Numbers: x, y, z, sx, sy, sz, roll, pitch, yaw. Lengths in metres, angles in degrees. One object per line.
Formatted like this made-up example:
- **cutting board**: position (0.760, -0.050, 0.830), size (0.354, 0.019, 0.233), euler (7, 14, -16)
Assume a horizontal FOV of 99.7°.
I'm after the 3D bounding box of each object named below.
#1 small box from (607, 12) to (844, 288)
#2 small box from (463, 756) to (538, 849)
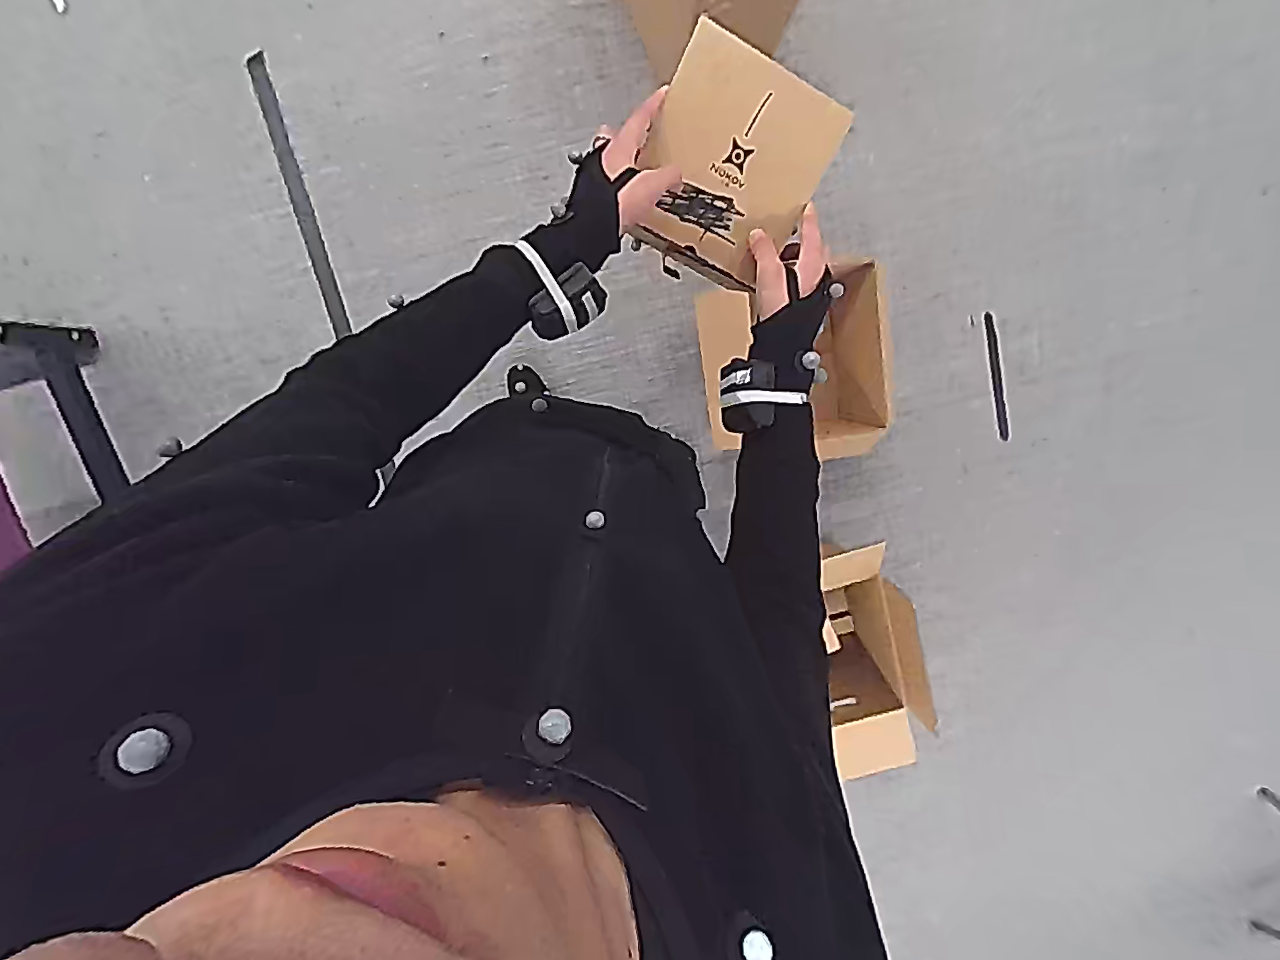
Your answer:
- **small box**: position (0.077, -0.325, 0.579), size (0.168, 0.176, 0.179), euler (24, 107, -10)
- **small box**: position (-0.423, 0.979, 1.664), size (0.168, 0.176, 0.179), euler (-13, 101, 1)
